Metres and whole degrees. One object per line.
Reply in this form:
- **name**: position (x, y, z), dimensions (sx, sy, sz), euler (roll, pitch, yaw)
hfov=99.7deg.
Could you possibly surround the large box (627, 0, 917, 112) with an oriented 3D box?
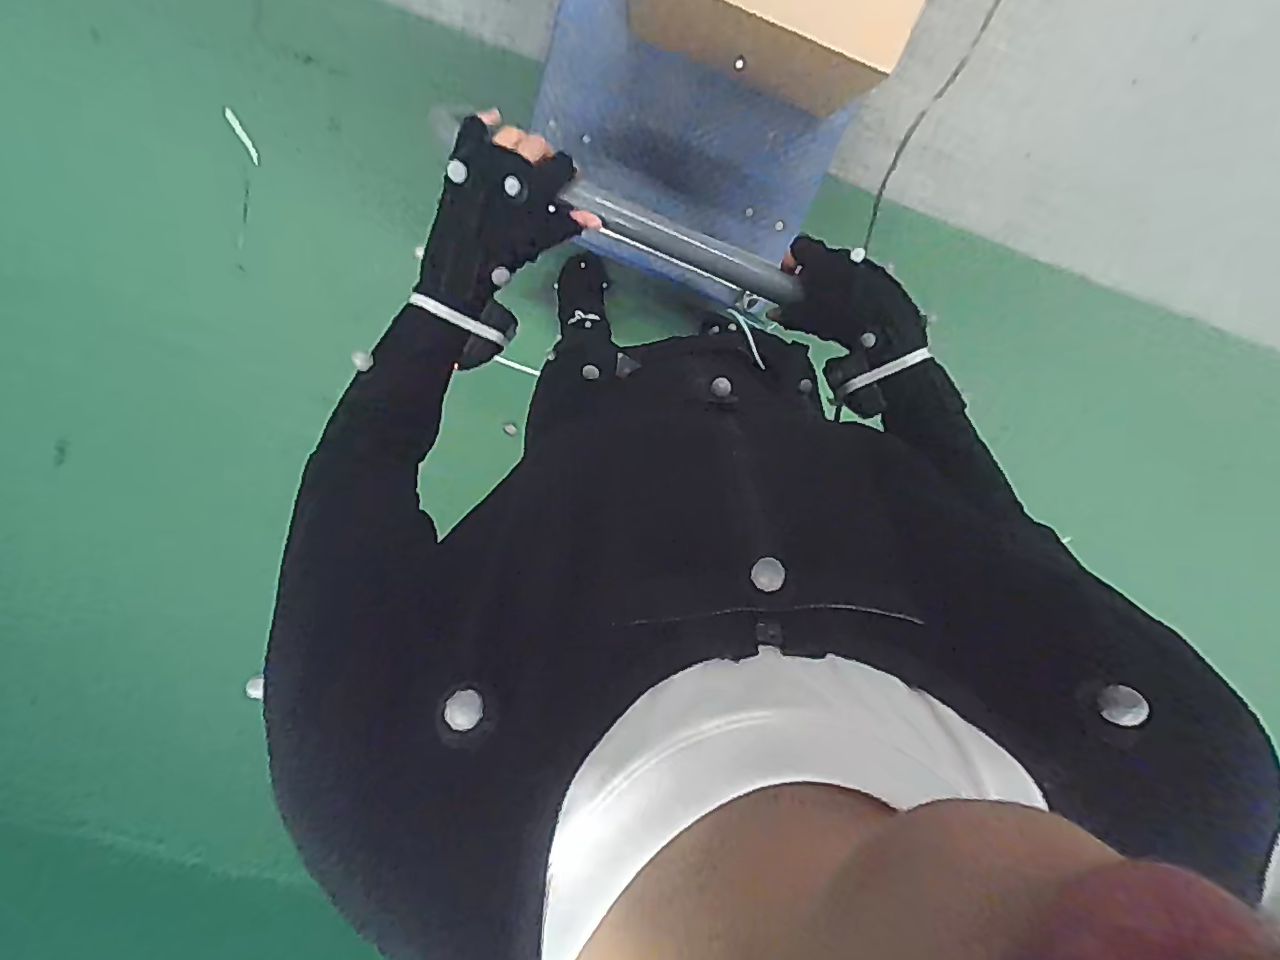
- **large box**: position (0.215, -0.832, 0.831), dimensions (0.408, 0.320, 0.320), euler (17, 112, -7)
